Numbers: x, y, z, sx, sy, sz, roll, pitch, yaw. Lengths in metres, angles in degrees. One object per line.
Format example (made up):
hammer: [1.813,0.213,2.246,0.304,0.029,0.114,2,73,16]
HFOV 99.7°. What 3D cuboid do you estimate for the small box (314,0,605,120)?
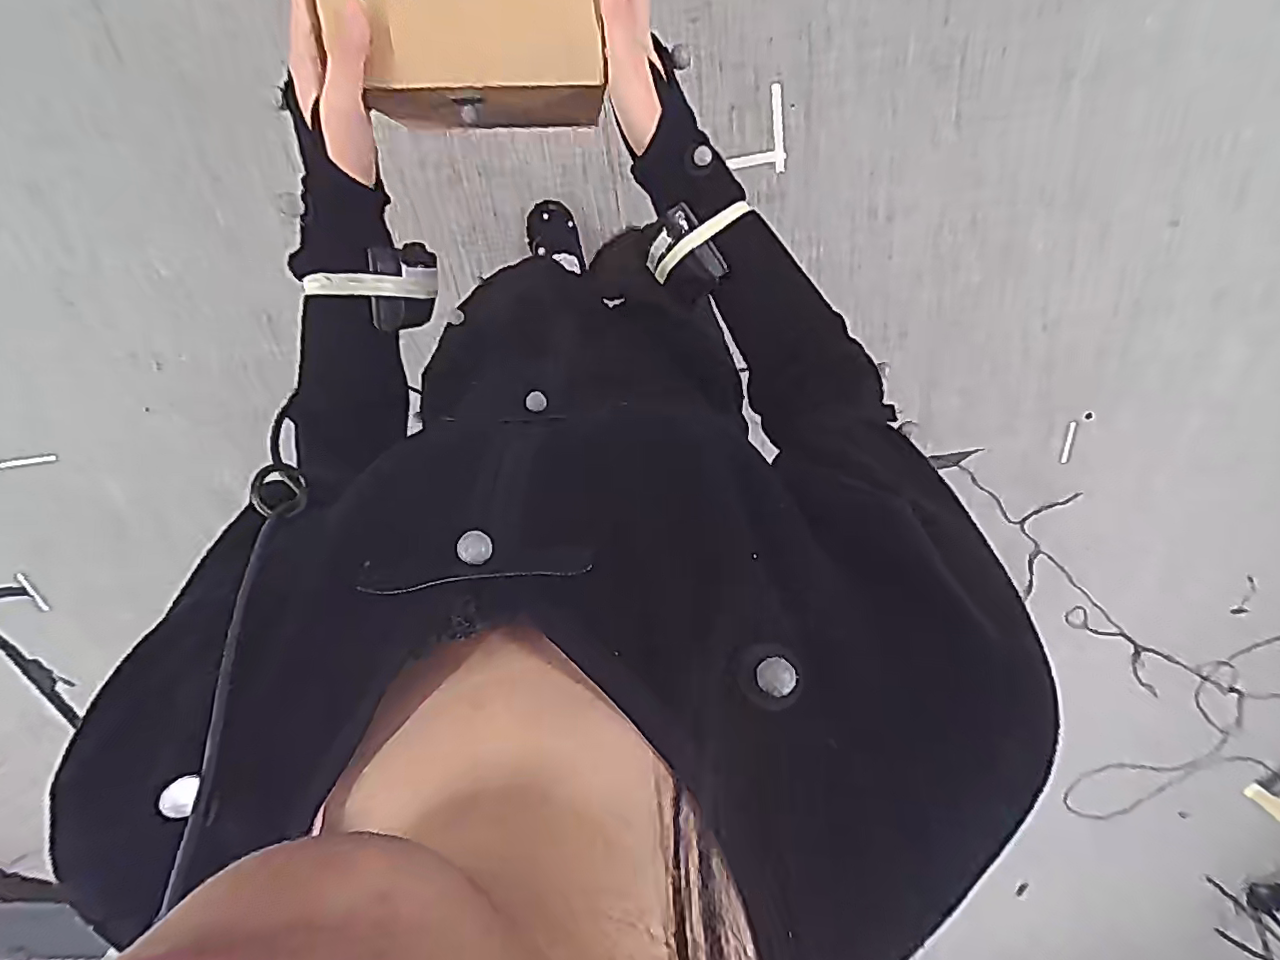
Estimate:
small box: [-0.118,-0.367,0.383,0.179,0.176,0.168,-4,115,-5]
